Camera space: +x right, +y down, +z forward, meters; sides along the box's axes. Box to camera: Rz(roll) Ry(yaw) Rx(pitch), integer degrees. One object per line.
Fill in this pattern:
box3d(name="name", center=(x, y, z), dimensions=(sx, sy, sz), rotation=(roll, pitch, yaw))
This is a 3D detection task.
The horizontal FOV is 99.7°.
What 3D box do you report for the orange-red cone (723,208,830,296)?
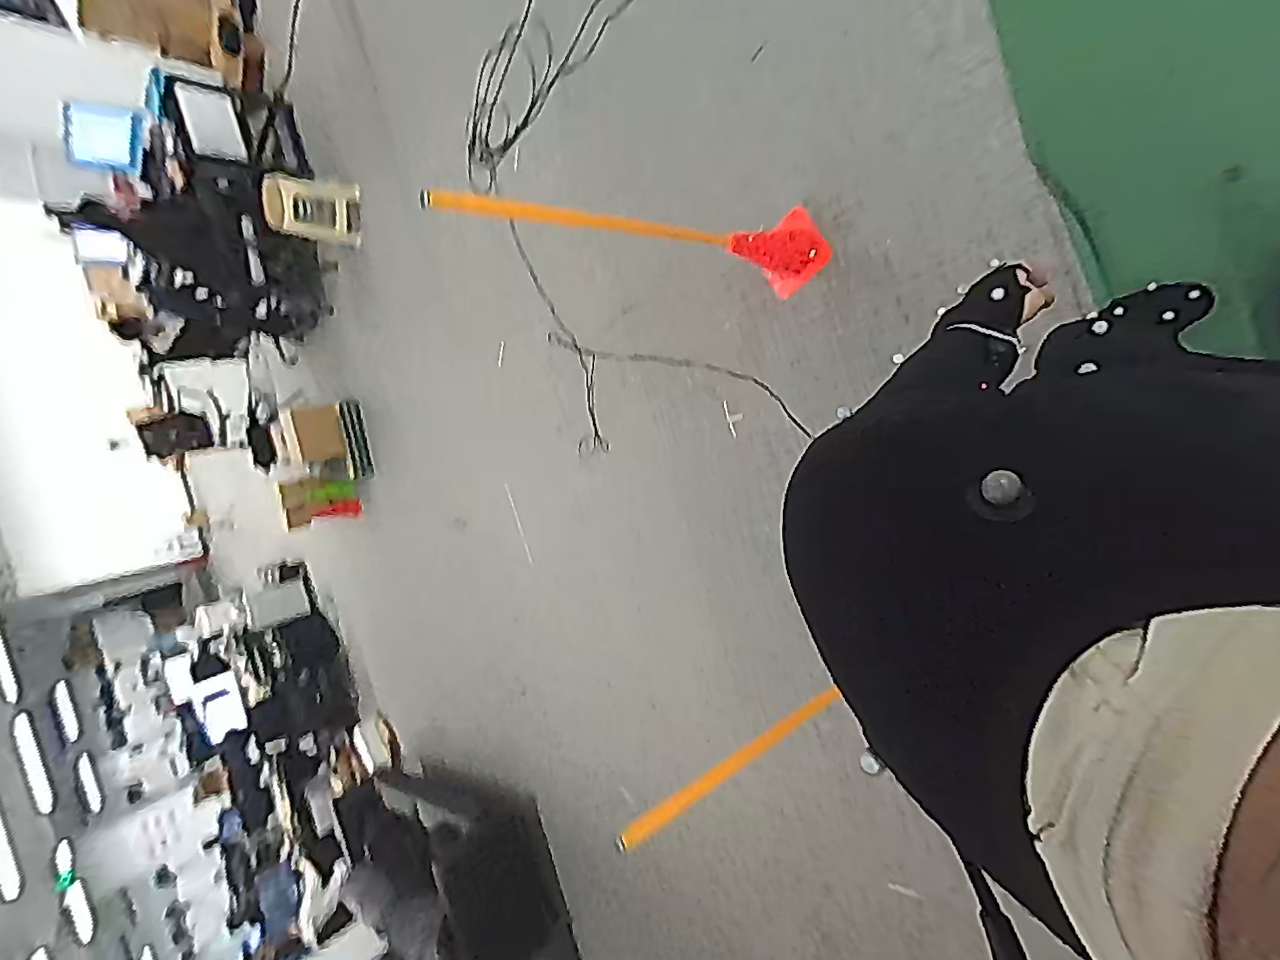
box3d(name="orange-red cone", center=(0.348, -0.662, 1.532), dimensions=(0.198, 0.360, 0.199), rotation=(-36, 76, 42))
